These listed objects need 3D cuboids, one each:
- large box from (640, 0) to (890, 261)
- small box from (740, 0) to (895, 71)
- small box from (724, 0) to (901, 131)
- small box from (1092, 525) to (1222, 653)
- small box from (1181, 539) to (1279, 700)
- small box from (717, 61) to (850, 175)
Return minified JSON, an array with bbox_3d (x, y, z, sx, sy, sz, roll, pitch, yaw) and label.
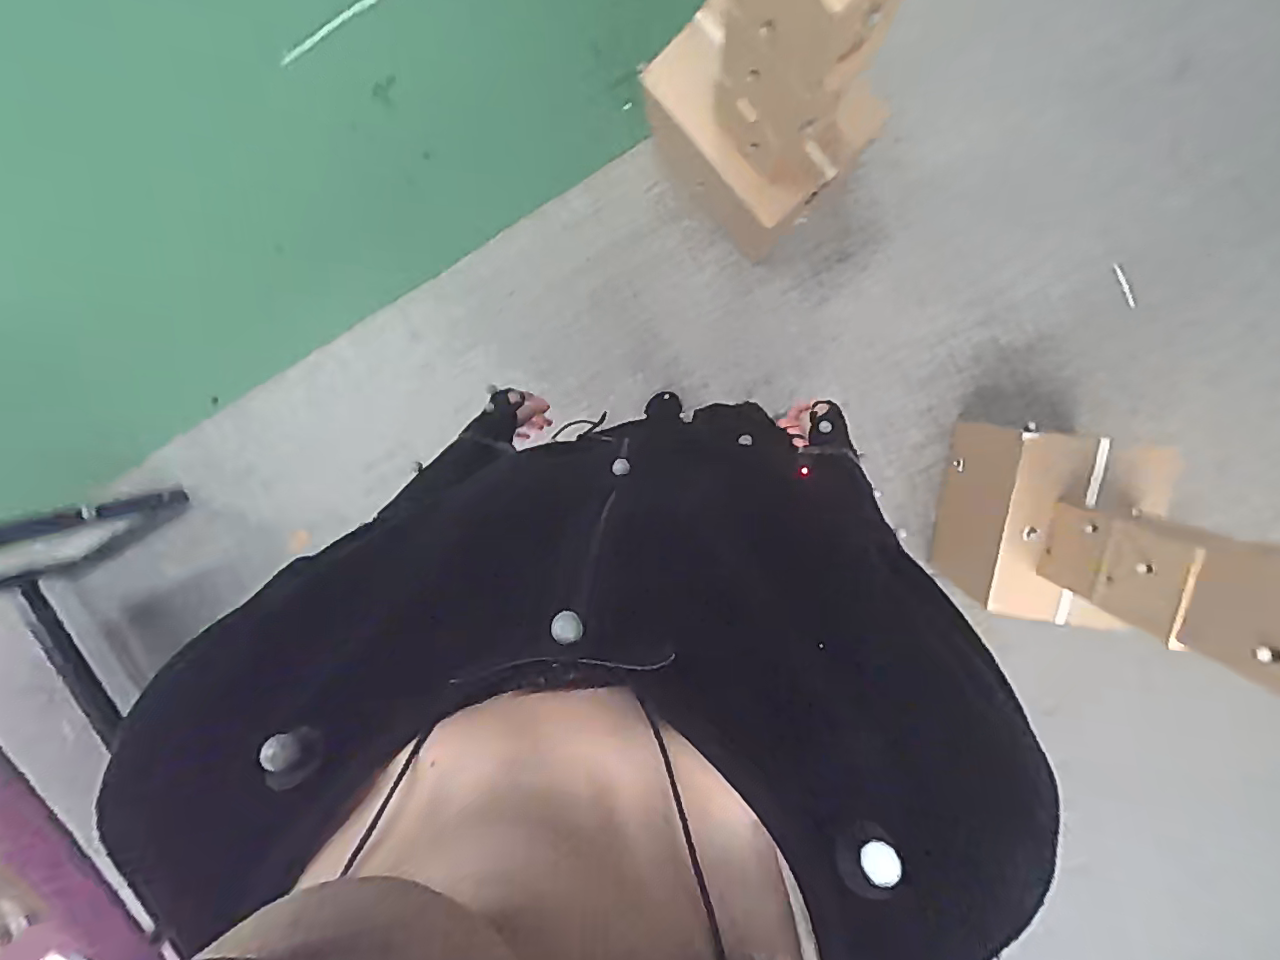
[{"bbox_3d":[0.258,-0.775,1.204,0.320,0.320,0.408,-41,93,9],"label":"large box"},{"bbox_3d":[0.228,-0.642,0.646,0.168,0.176,0.179,-41,95,10],"label":"small box"},{"bbox_3d":[0.243,-0.666,0.808,0.168,0.176,0.179,-41,94,11],"label":"small box"},{"bbox_3d":[0.906,0.178,0.890,0.179,0.176,0.168,7,100,2],"label":"small box"},{"bbox_3d":[0.900,0.195,0.726,0.168,0.176,0.179,9,100,2],"label":"small box"},{"bbox_3d":[0.254,-0.694,0.969,0.179,0.176,0.168,-40,94,10],"label":"small box"}]
